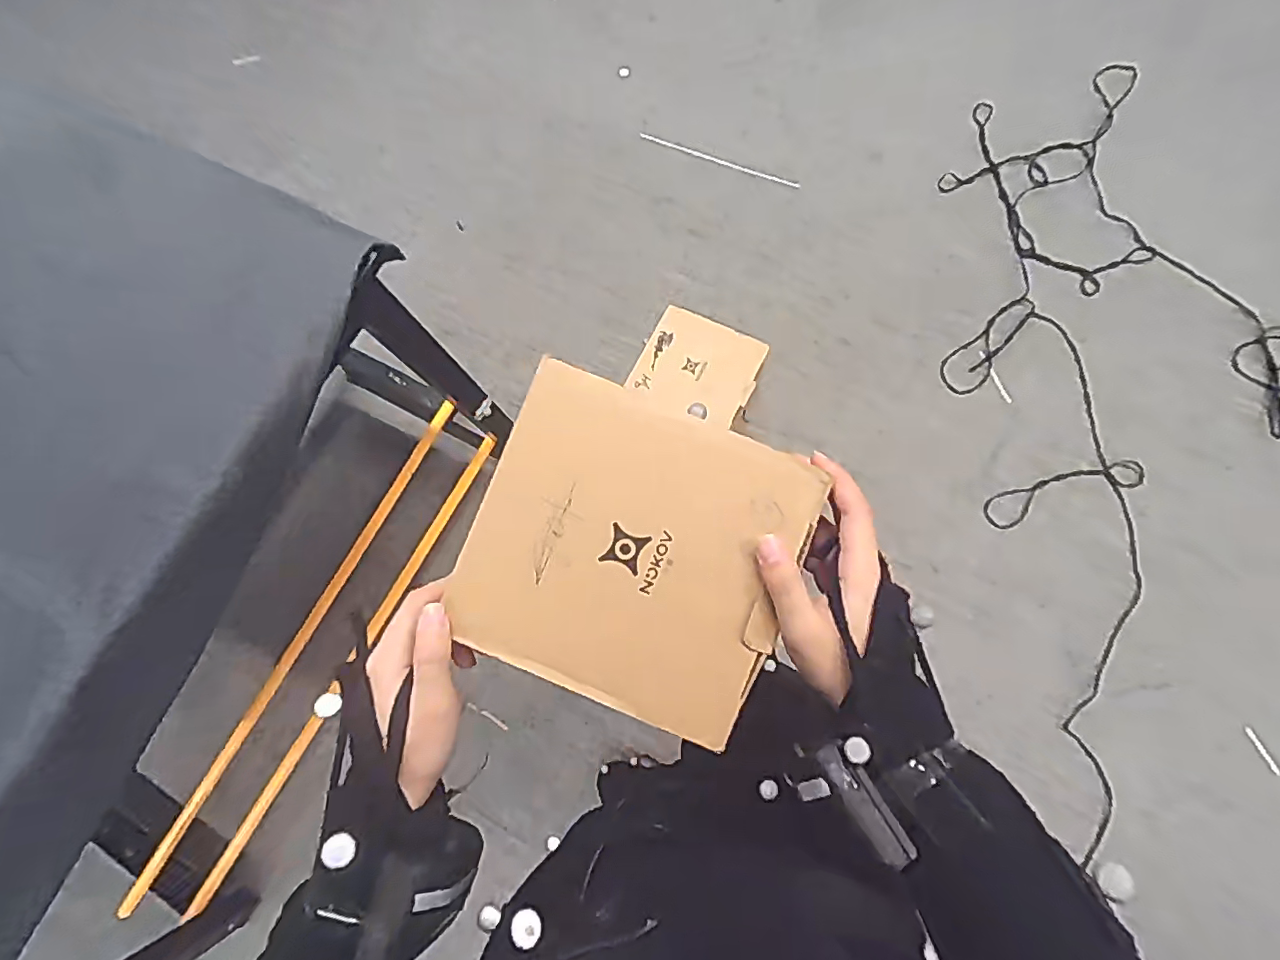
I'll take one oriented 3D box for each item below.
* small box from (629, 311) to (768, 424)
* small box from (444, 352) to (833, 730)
[{"bbox_3d":[0.085,-0.139,0.894,0.179,0.176,0.168,27,78,10],"label":"small box"},{"bbox_3d":[0.001,0.036,0.383,0.179,0.176,0.168,22,87,2],"label":"small box"}]
